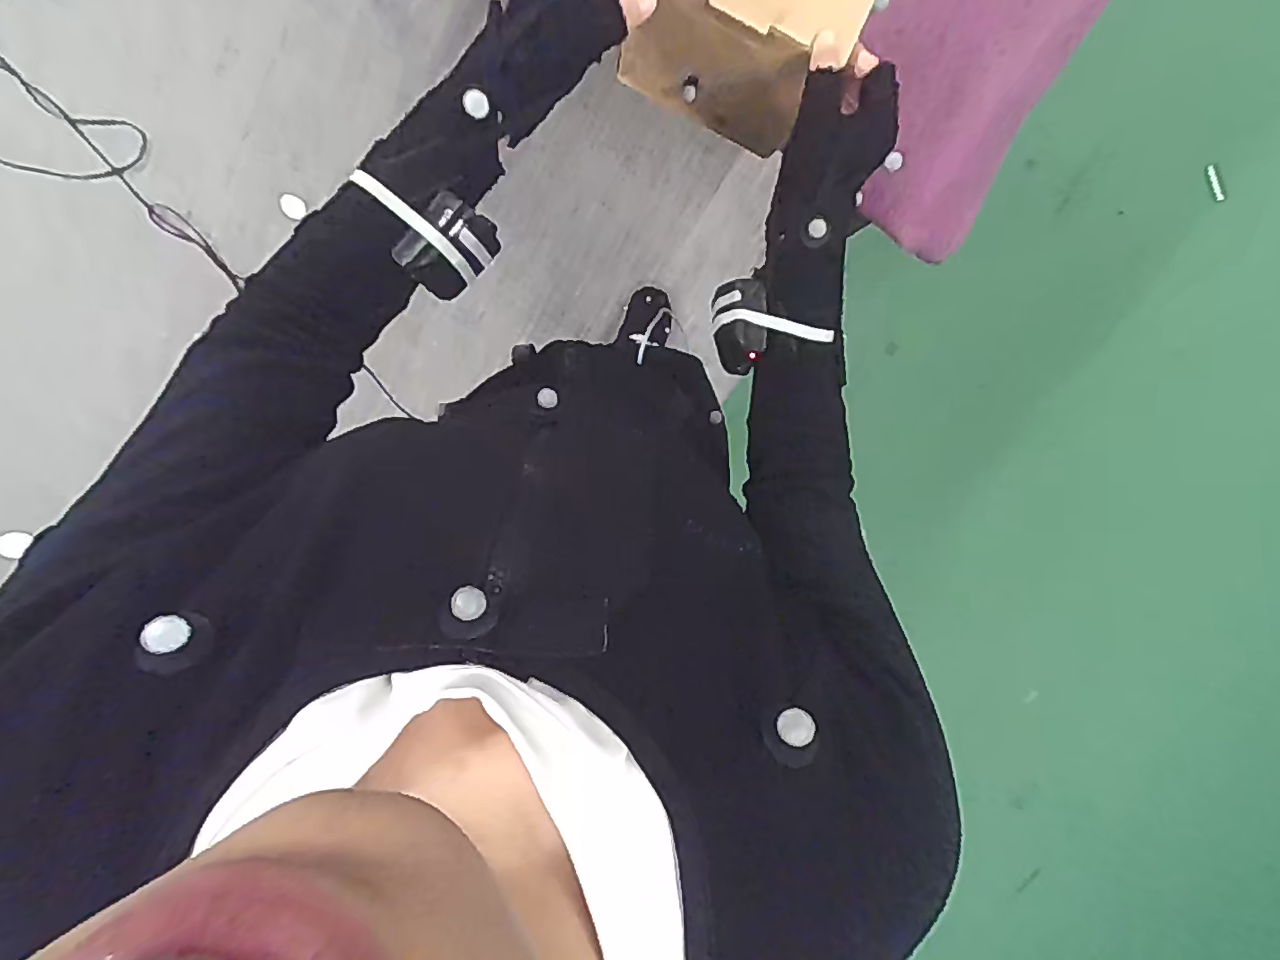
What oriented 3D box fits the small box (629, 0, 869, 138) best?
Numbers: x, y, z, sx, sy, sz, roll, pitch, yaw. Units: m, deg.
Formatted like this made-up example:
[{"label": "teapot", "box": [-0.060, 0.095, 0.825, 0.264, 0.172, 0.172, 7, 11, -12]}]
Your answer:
[{"label": "small box", "box": [0.097, -0.424, 0.432, 0.168, 0.176, 0.179, 23, 100, -10]}]
